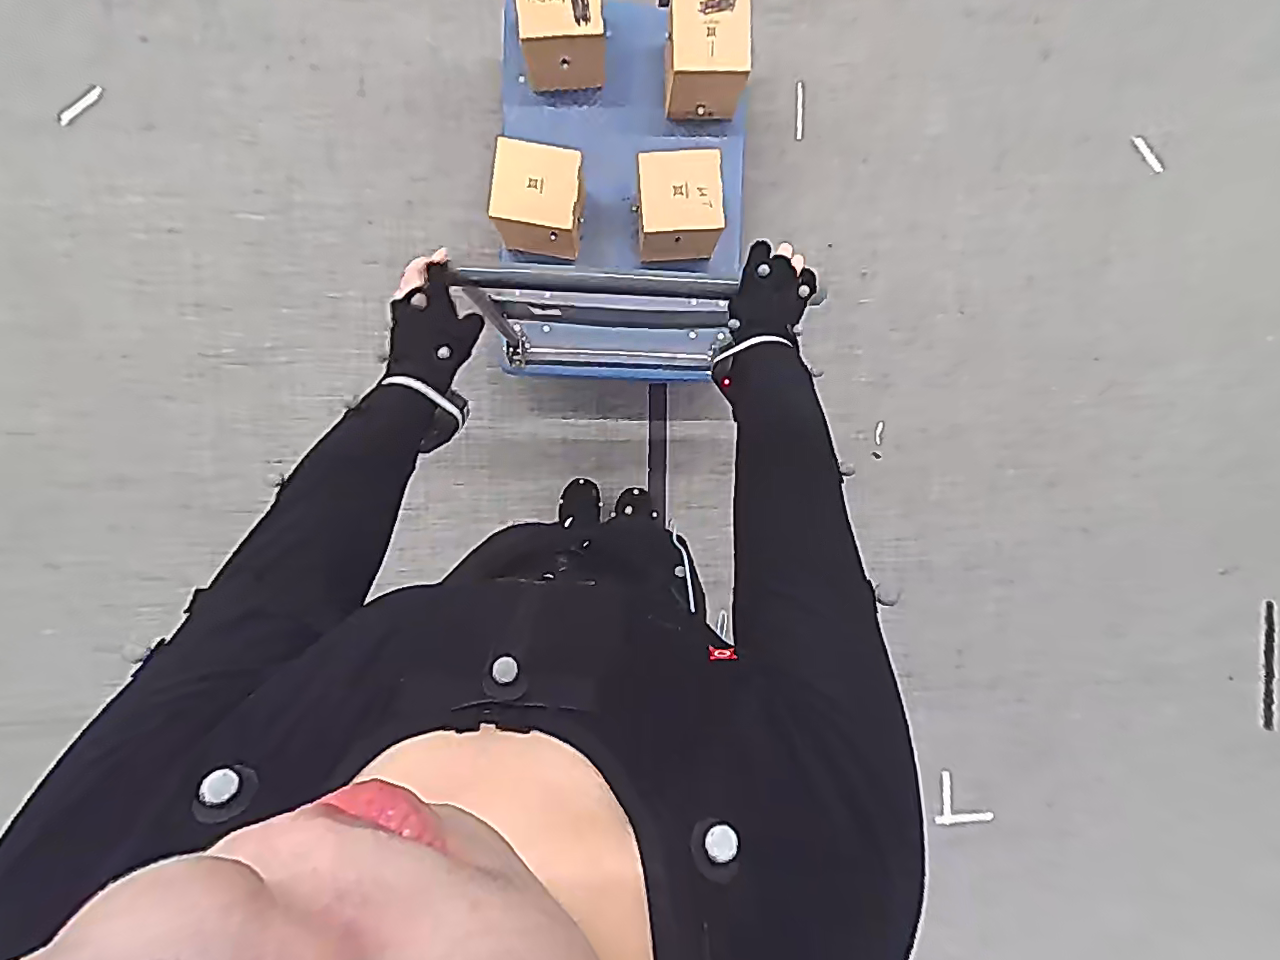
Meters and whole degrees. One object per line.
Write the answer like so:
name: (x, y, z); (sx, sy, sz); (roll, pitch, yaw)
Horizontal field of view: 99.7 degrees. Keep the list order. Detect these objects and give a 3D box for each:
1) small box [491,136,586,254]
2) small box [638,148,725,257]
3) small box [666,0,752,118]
small box: (-0.218, -0.623, 1.202); (0.179, 0.176, 0.168); (7, 92, -5)
small box: (0.086, -0.616, 1.218); (0.179, 0.176, 0.168); (-4, 93, -3)
small box: (0.148, -0.950, 1.206); (0.168, 0.176, 0.179); (-2, 94, -3)
